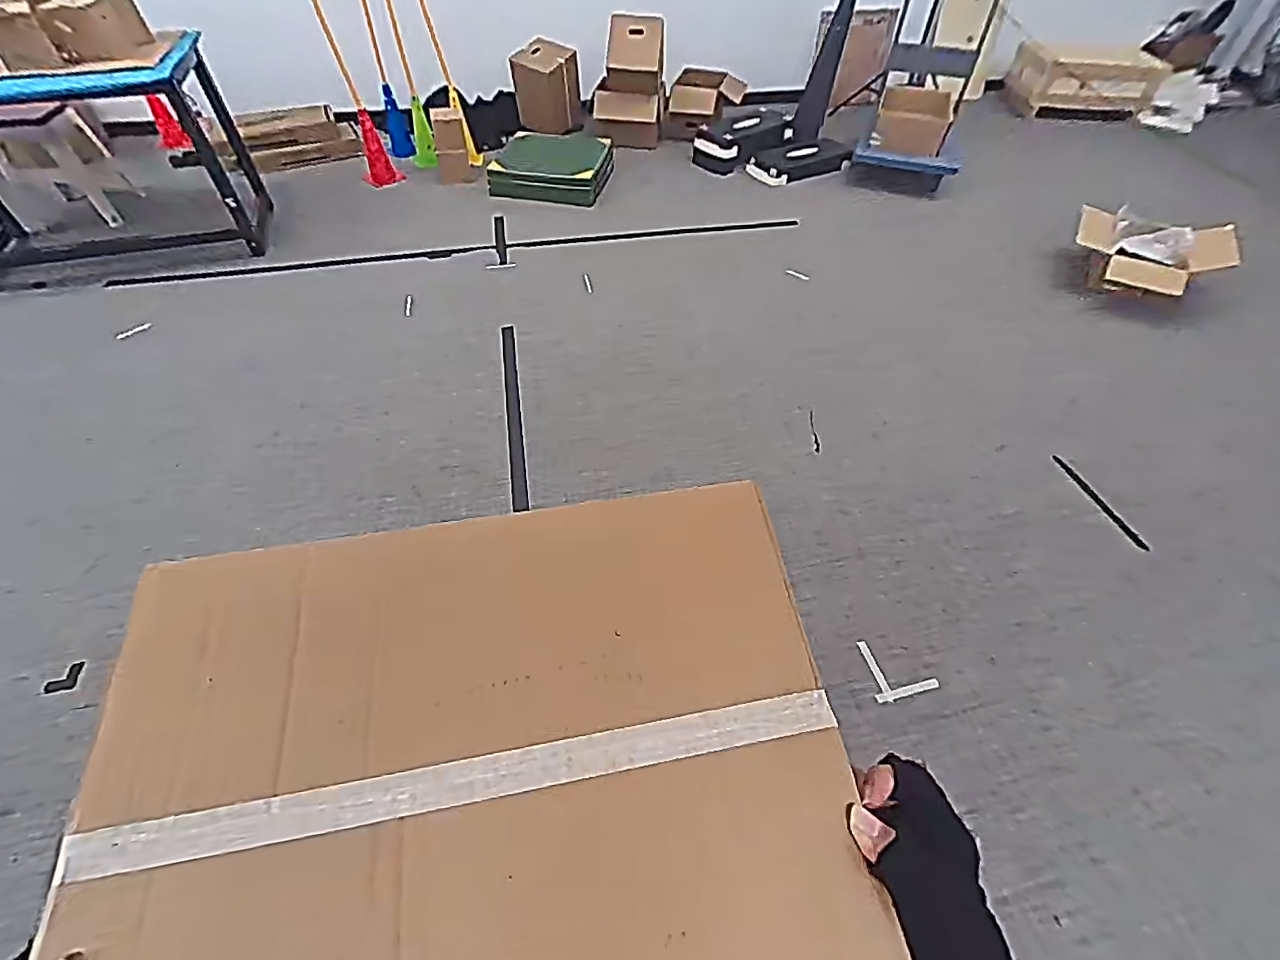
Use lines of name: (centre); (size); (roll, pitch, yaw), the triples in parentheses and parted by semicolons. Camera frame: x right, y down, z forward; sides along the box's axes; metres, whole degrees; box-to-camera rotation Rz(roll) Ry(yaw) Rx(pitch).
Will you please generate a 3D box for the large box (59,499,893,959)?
large box: (-0.092, 0.245, 0.430); (0.408, 0.320, 0.320); (-8, 60, -6)
